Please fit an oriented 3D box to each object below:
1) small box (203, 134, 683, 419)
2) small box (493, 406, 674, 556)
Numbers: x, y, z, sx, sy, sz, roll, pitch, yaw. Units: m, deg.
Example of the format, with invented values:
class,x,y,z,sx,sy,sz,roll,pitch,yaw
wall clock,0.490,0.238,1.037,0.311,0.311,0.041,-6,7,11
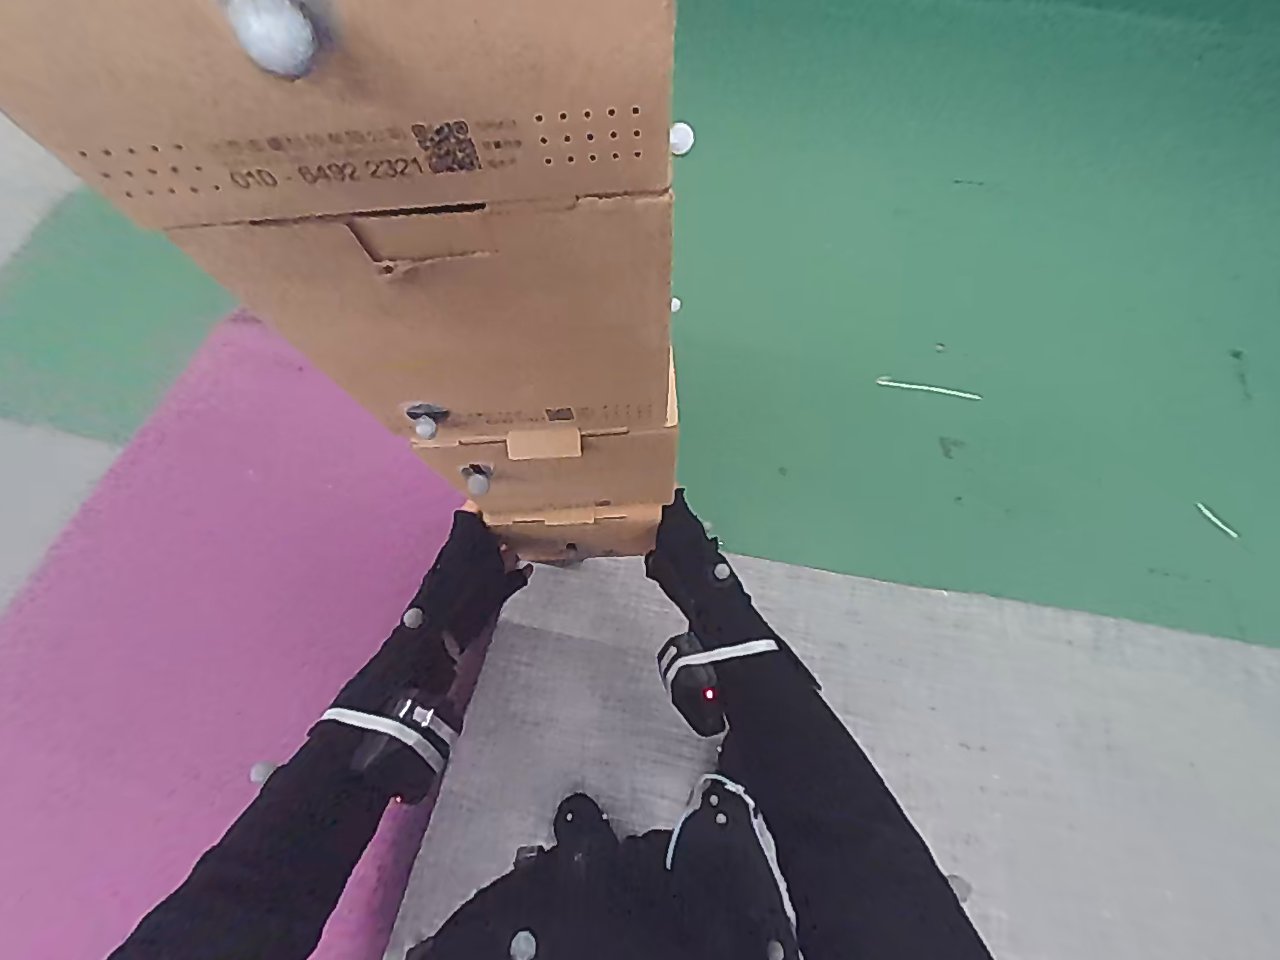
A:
class,x,y,z,sx,sy,sz,roll,pitch,yaw
small box,-0.064,-0.139,0.280,0.168,0.176,0.179,-2,70,1
small box,-0.051,-0.019,0.587,0.168,0.176,0.179,-2,72,1
